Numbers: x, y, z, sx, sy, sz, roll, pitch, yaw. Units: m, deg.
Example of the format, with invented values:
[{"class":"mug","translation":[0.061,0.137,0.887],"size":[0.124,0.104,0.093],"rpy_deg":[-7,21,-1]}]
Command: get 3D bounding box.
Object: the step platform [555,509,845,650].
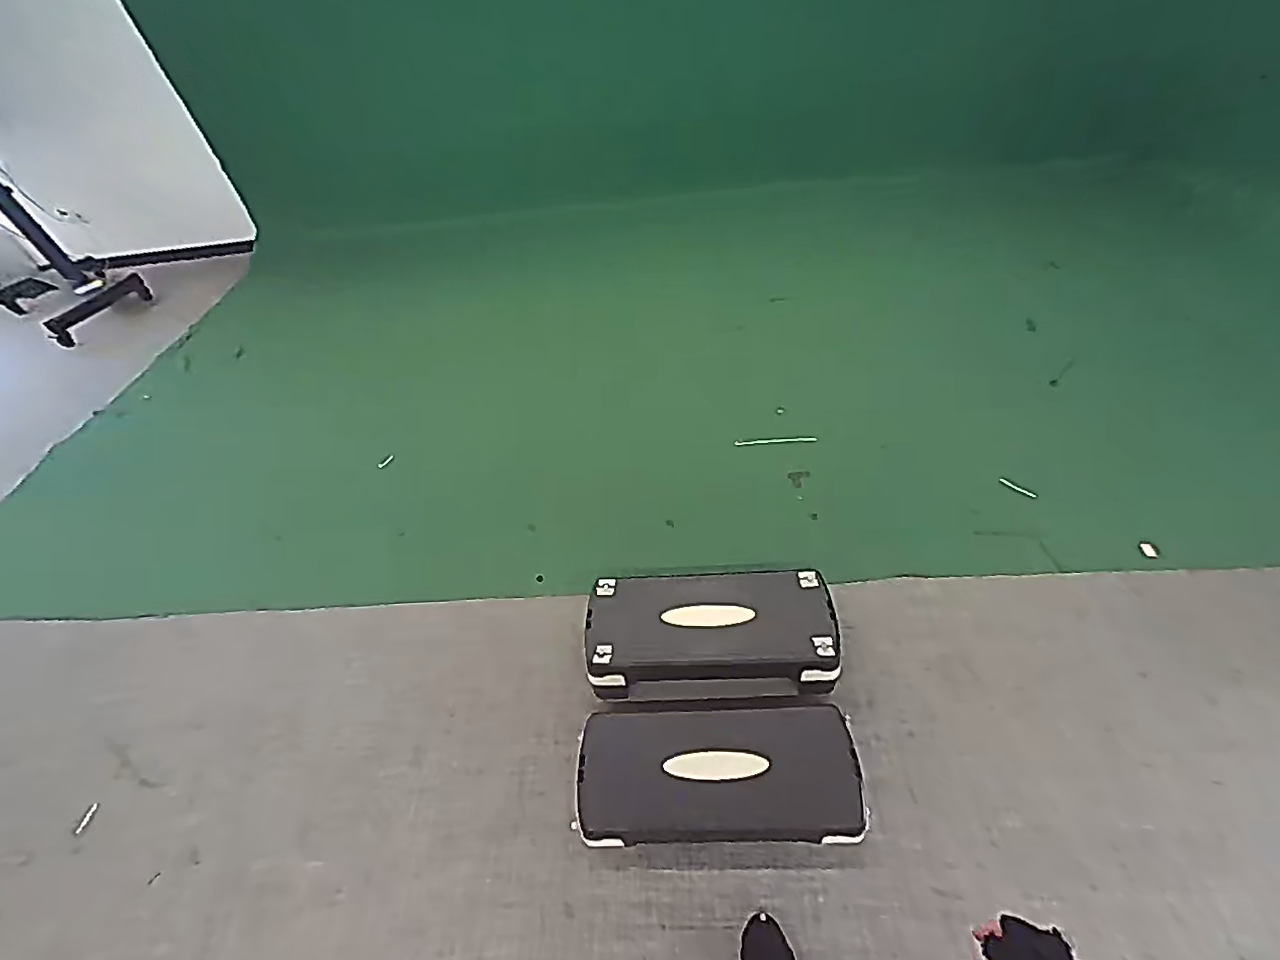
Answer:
[{"class":"step platform","translation":[0.141,0.256,1.371],"size":[0.684,0.204,0.286],"rpy_deg":[-4,48,5]}]
